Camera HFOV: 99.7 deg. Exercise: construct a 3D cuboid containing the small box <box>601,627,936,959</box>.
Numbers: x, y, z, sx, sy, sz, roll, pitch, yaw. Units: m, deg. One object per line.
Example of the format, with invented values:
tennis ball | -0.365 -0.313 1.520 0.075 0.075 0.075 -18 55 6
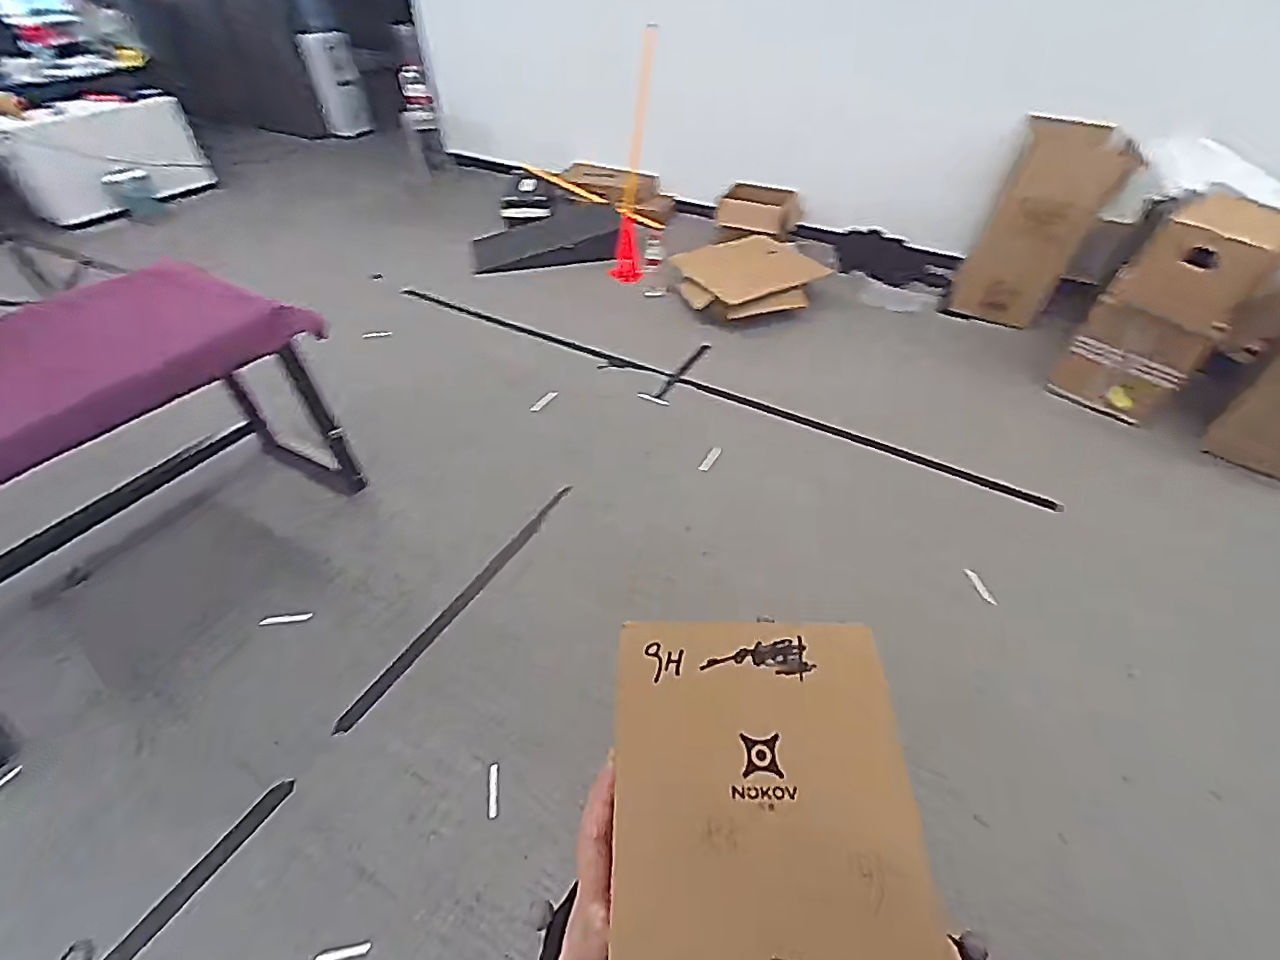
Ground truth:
small box | 0.064 0.212 0.371 0.168 0.176 0.179 -1 56 0
